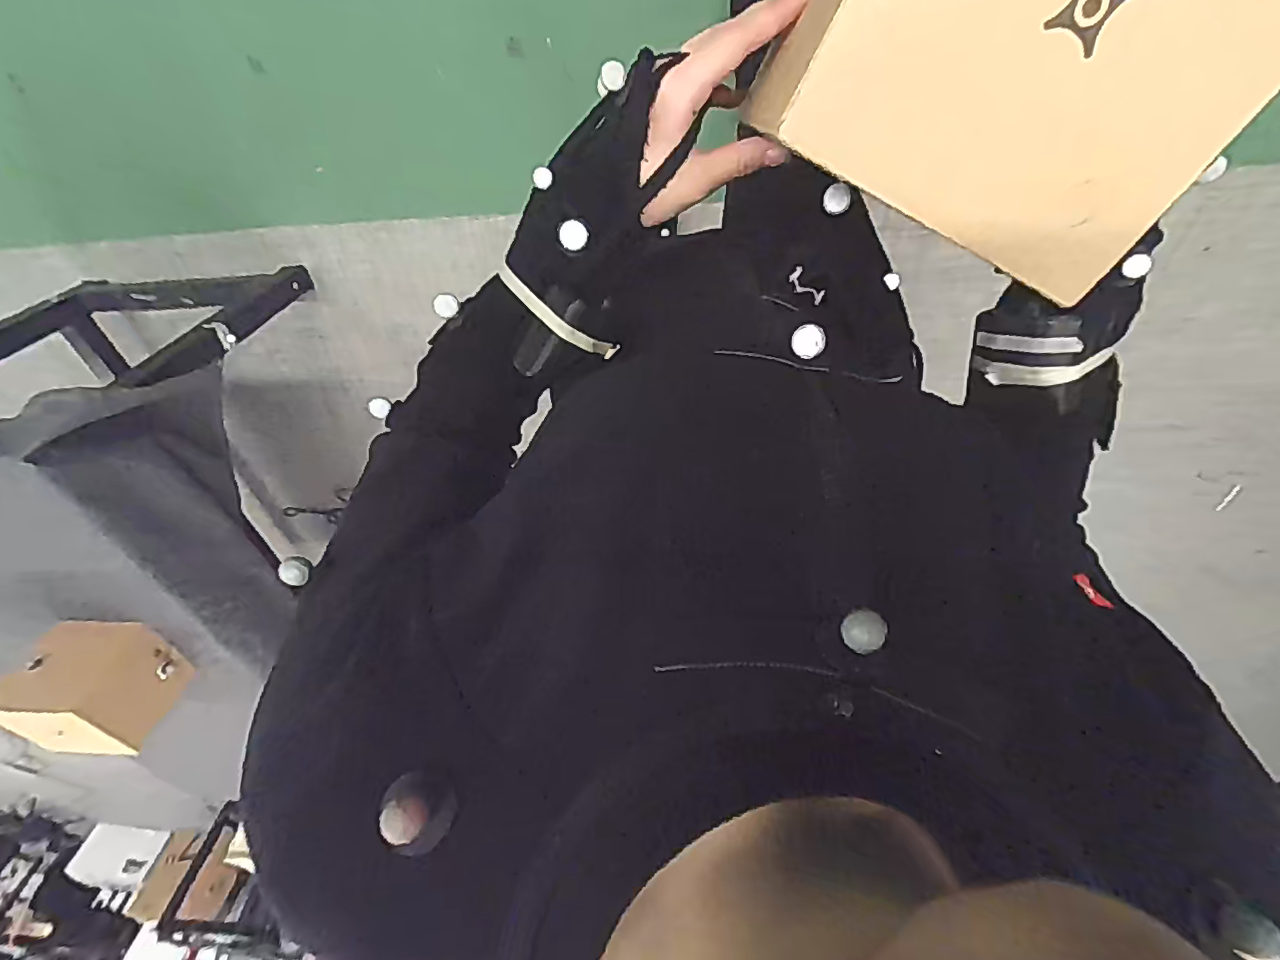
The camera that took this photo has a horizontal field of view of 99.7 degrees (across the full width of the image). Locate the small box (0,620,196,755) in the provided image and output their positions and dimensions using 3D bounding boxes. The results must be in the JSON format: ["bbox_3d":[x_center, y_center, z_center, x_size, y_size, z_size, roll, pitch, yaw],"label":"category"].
[{"bbox_3d":[-0.955,0.362,0.953,0.179,0.176,0.168,-1,133,4],"label":"small box"}]

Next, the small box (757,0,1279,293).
[{"bbox_3d":[0.168,-0.222,0.250,0.168,0.176,0.179,22,124,-11],"label":"small box"}]
